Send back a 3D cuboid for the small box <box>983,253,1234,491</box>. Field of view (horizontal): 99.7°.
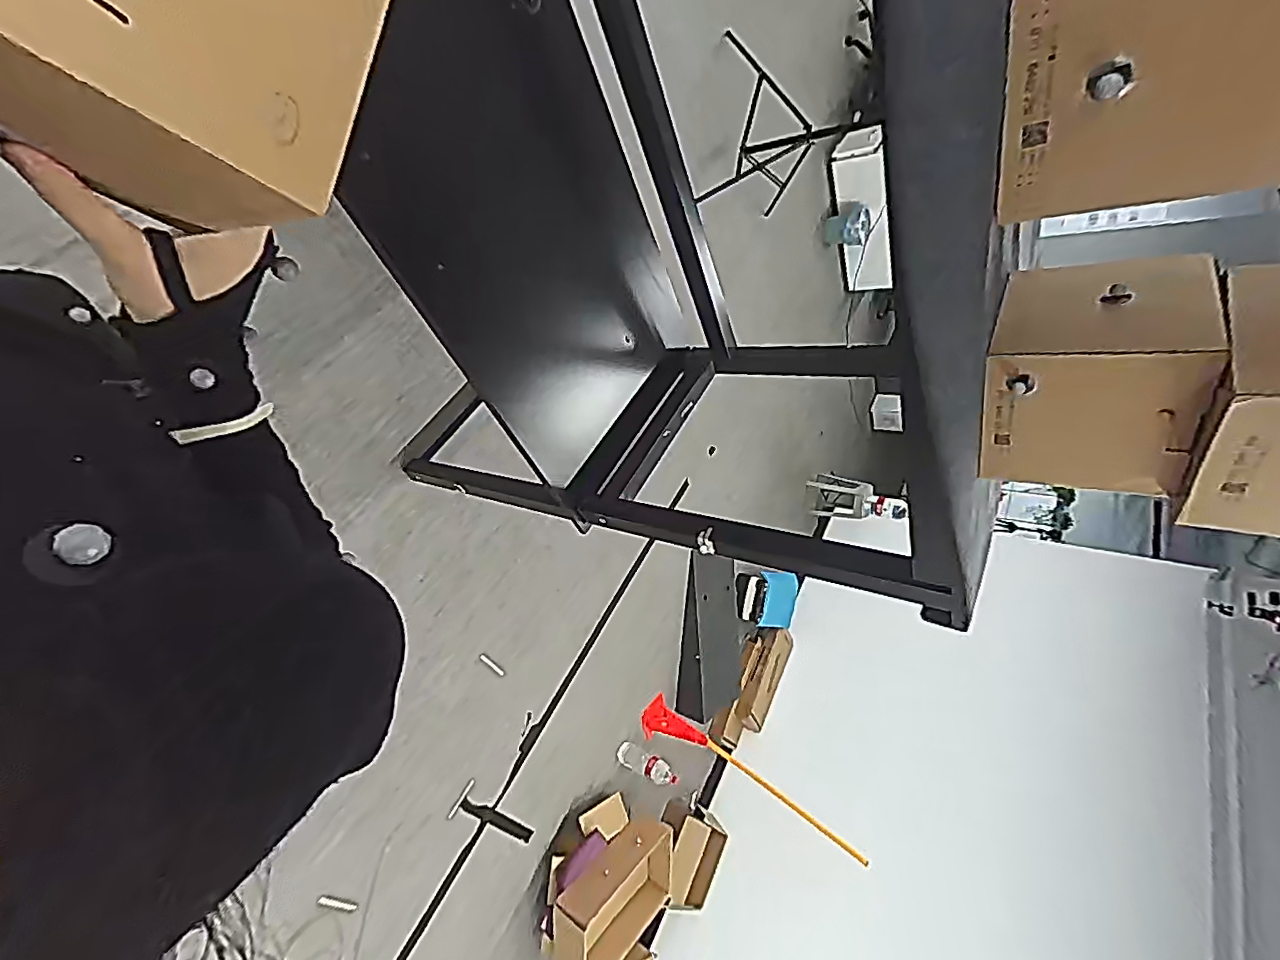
[{"bbox_3d":[0.471,-0.112,0.568,0.179,0.176,0.168,-55,137,-33],"label":"small box"}]

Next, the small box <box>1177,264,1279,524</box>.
[{"bbox_3d":[0.586,-0.068,0.458,0.179,0.176,0.168,-59,140,-28],"label":"small box"}]

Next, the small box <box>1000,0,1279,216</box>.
[{"bbox_3d":[0.362,-0.309,0.371,0.179,0.176,0.168,-57,138,-31],"label":"small box"}]
